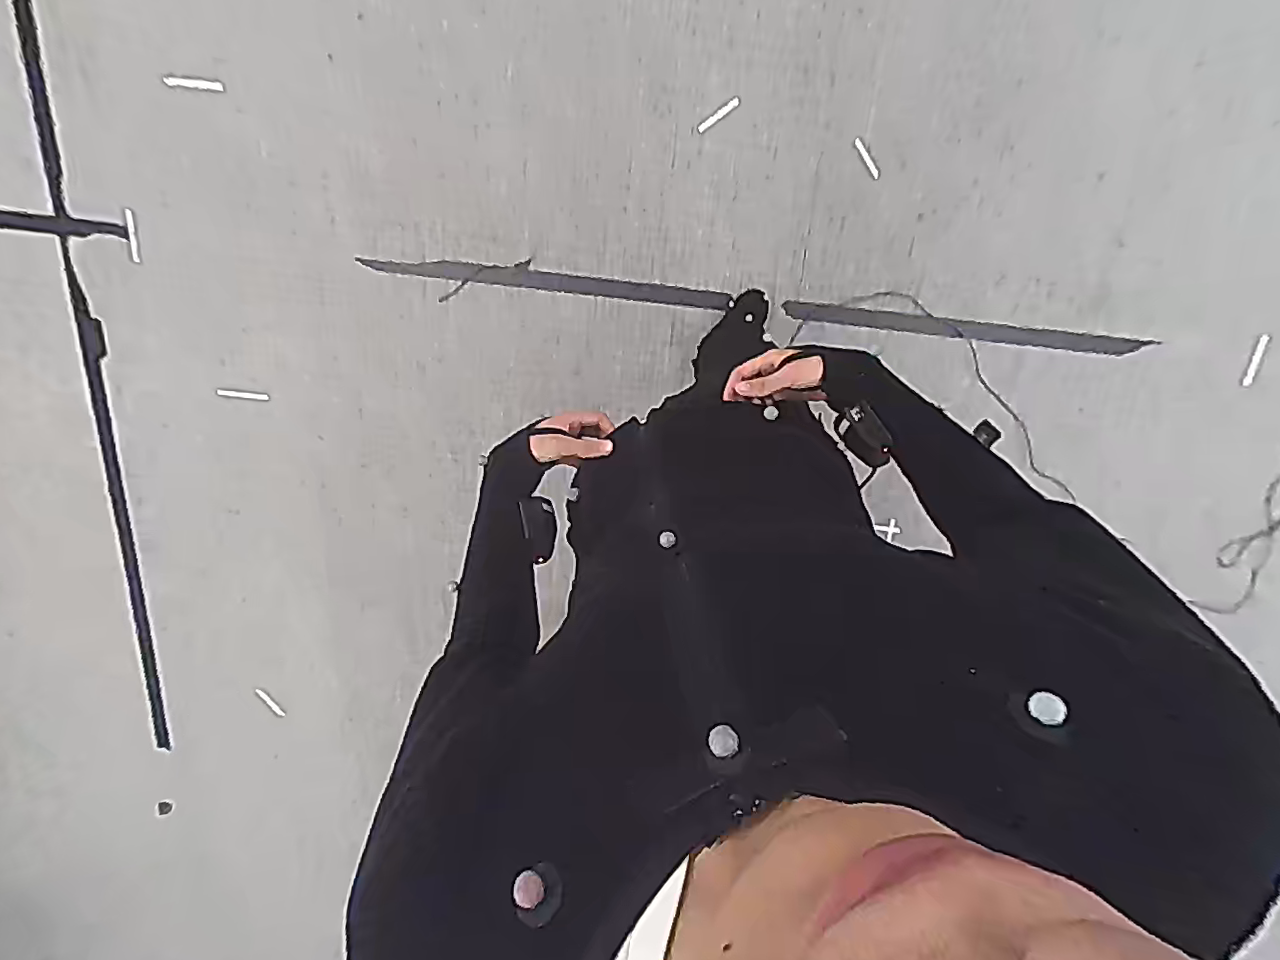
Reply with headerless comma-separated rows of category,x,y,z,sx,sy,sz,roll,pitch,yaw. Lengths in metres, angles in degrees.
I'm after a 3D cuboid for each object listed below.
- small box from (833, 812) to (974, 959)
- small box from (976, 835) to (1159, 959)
small box,0.469,0.757,0.994,0.168,0.176,0.179,5,104,0
small box,0.764,0.787,0.988,0.179,0.176,0.168,6,105,0
